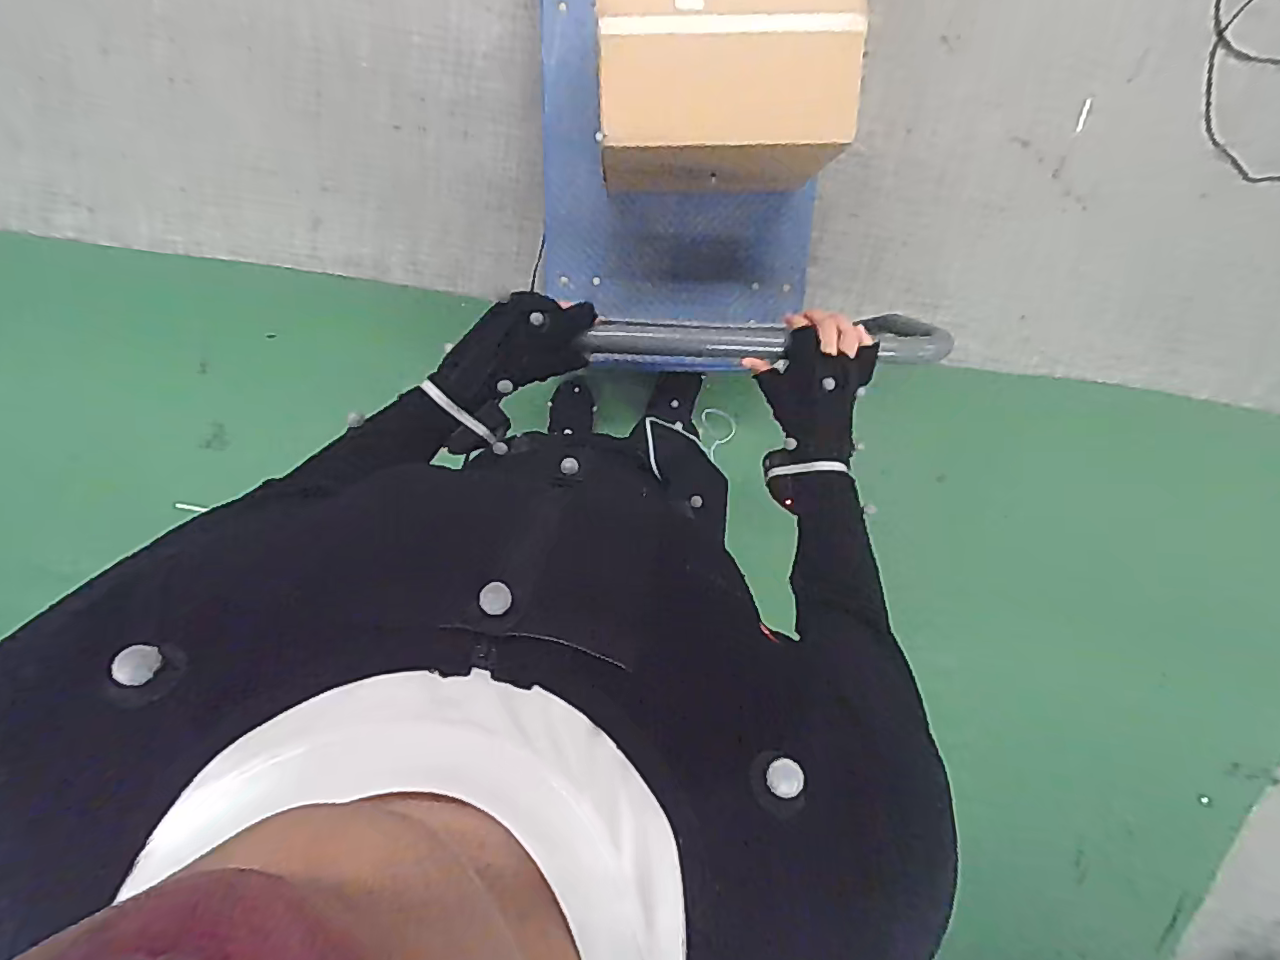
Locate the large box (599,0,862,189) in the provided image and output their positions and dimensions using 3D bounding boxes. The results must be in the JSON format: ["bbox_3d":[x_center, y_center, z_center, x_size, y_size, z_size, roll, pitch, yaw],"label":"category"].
[{"bbox_3d":[0.135,-0.723,0.963,0.408,0.320,0.320,-1,106,-2],"label":"large box"}]
